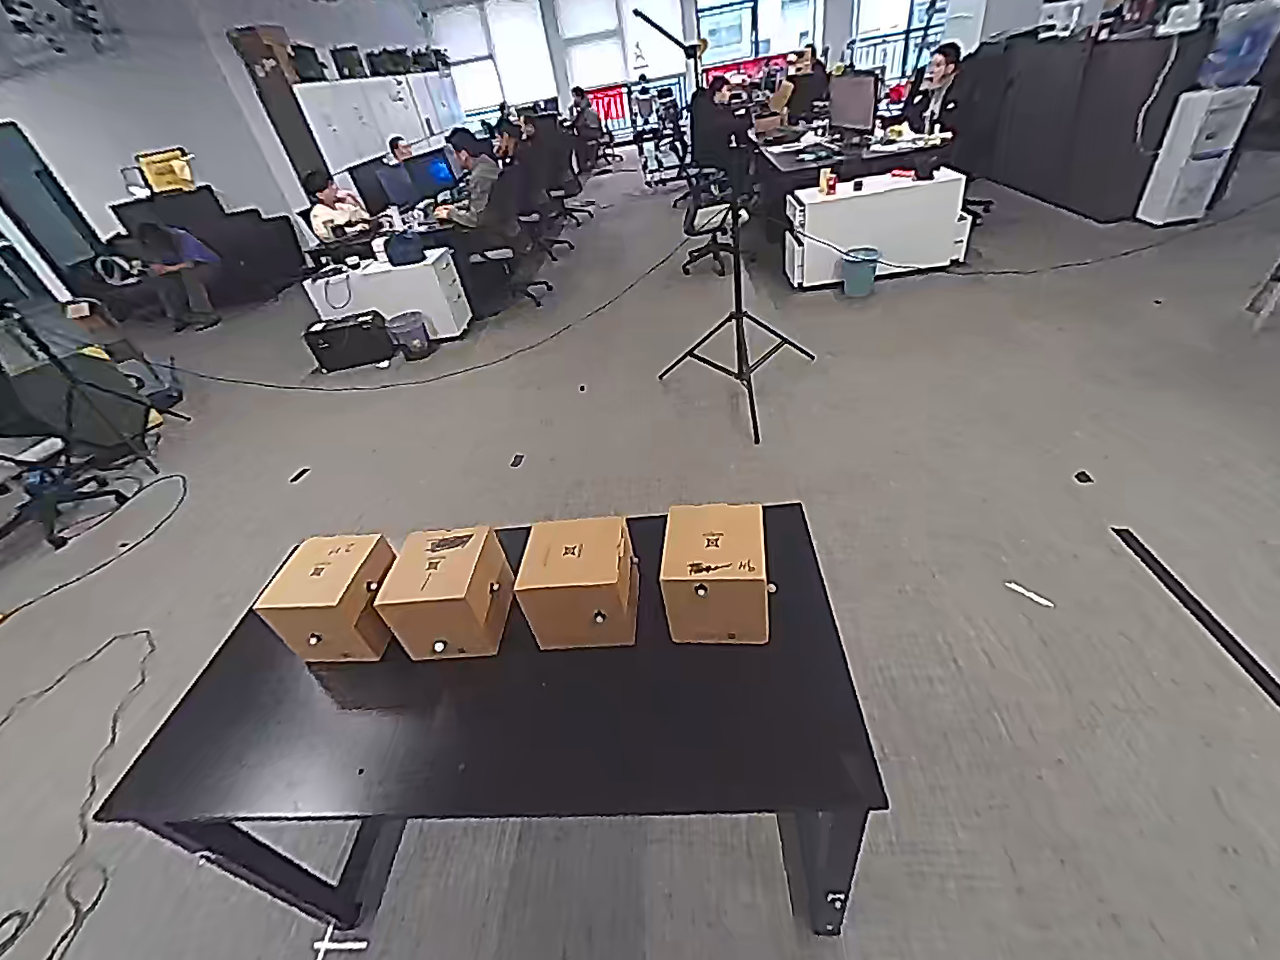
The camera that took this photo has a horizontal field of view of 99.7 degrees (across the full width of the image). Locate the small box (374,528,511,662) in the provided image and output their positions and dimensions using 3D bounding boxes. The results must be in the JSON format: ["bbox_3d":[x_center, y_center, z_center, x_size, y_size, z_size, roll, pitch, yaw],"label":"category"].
[{"bbox_3d":[-0.352,0.214,1.008,0.168,0.176,0.179,-6,39,6],"label":"small box"}]

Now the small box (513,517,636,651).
[{"bbox_3d":[-0.106,0.190,0.980,0.179,0.176,0.168,-7,36,8],"label":"small box"}]

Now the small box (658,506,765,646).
[{"bbox_3d":[0.131,0.165,0.946,0.168,0.176,0.179,-3,37,12],"label":"small box"}]

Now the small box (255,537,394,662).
[{"bbox_3d":[-0.573,0.233,1.042,0.168,0.176,0.179,-3,38,9],"label":"small box"}]
